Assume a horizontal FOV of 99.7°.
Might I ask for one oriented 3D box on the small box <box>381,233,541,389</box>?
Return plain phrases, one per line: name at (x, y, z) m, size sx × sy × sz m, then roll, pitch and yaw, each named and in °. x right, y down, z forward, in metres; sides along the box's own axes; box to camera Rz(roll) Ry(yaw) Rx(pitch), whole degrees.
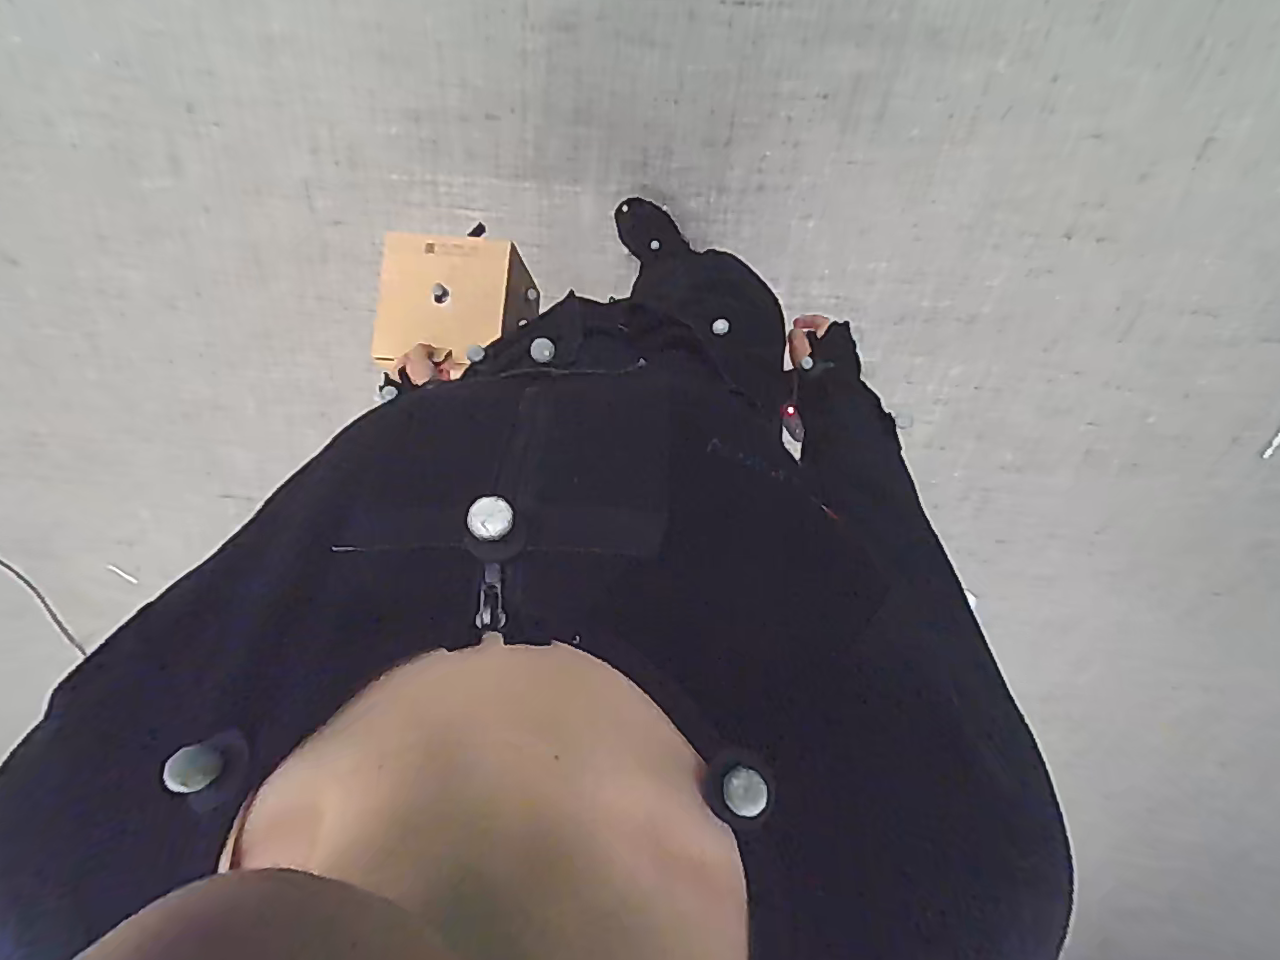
small box at (-0.243, -0.232, 0.768) m, size 0.168 × 0.179 × 0.176 m, roll 4°, pitch 89°, yaw 2°
